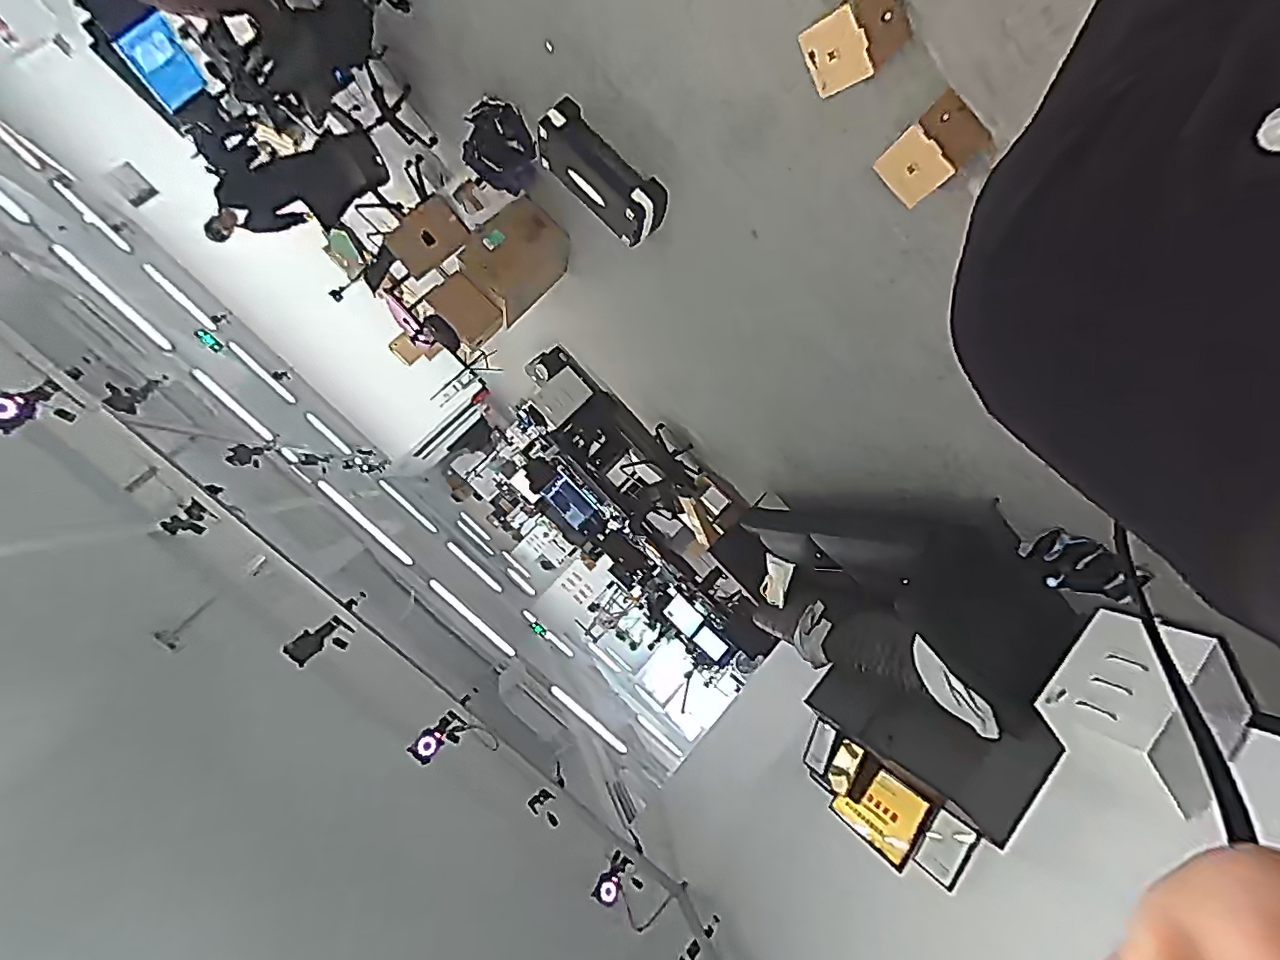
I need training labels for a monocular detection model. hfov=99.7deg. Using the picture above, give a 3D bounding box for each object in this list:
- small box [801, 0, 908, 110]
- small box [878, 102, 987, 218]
[{"bbox_3d":[0.558,-1.109,1.389,0.168,0.176,0.179,49,167,-29],"label":"small box"},{"bbox_3d":[0.797,-0.865,1.466,0.168,0.176,0.179,45,170,-4],"label":"small box"}]
